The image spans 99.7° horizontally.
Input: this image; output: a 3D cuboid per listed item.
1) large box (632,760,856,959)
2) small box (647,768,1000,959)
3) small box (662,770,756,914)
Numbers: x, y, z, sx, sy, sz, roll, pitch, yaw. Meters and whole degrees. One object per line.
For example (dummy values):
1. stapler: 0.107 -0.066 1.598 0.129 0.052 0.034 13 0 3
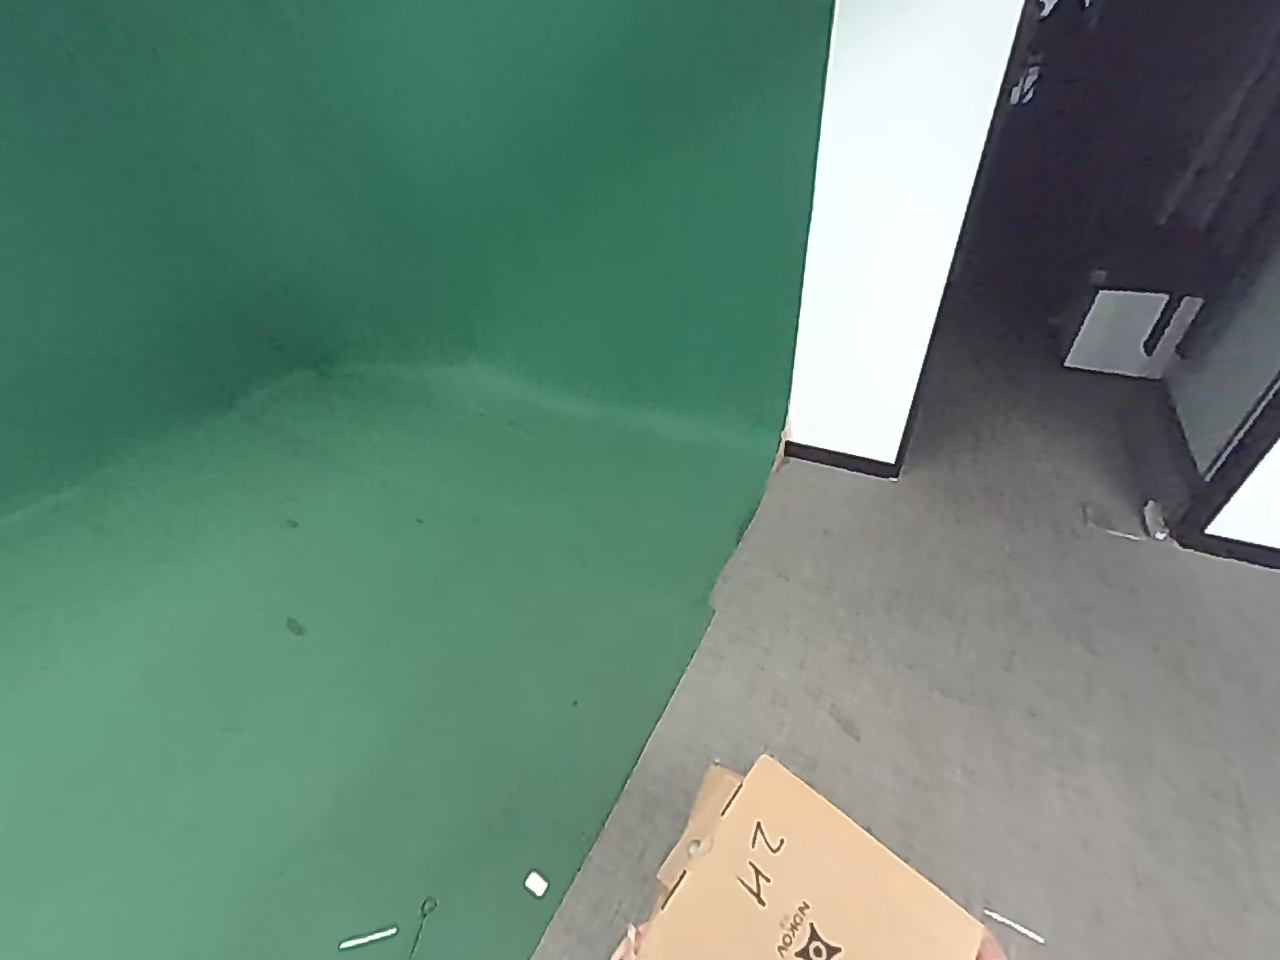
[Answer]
1. large box: 0.211 0.870 1.065 0.320 0.320 0.408 15 42 23
2. small box: 0.126 0.366 0.418 0.179 0.176 0.168 30 59 28
3. small box: 0.150 0.578 0.787 0.168 0.176 0.179 26 49 34
